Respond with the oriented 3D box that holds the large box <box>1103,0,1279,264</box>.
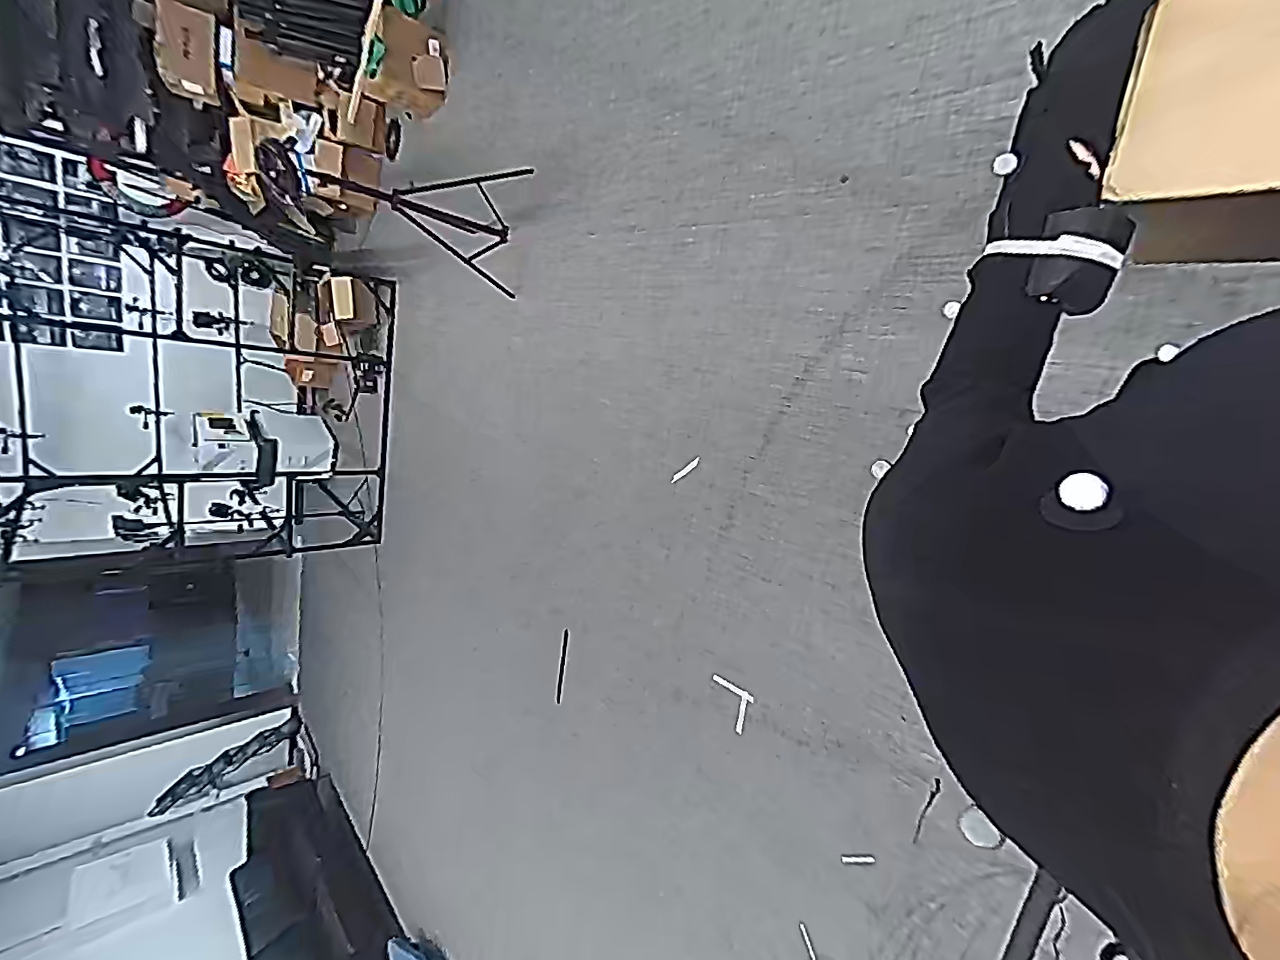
[{"bbox_3d":[0.604,-0.333,0.348,0.408,0.320,0.320,18,111,42],"label":"large box"}]
